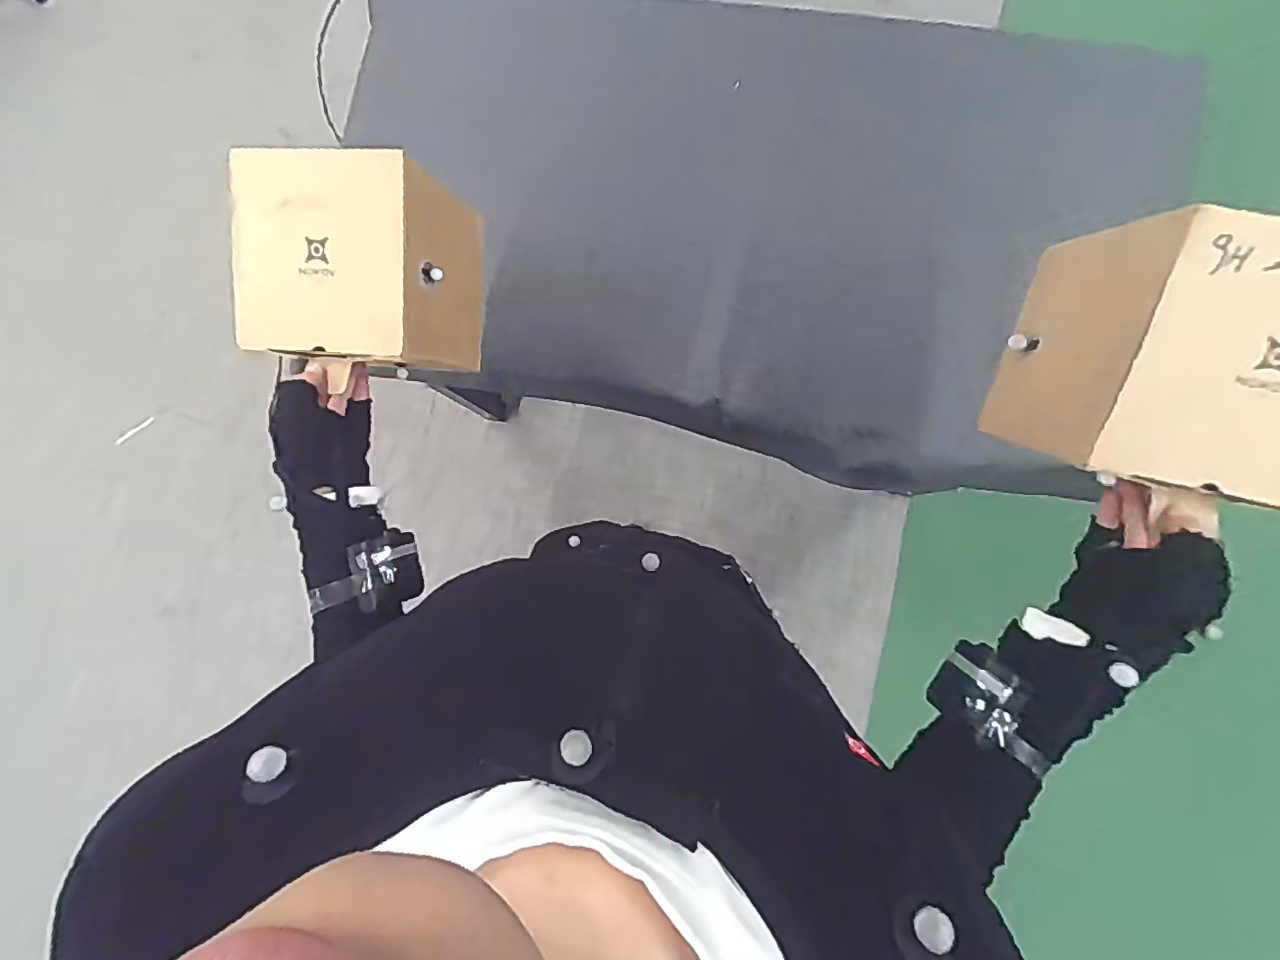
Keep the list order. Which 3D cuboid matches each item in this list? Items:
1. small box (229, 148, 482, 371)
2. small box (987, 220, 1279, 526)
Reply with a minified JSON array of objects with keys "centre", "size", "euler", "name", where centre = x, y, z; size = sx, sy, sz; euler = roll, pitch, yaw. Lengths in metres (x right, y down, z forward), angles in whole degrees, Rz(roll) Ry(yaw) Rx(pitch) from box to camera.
[{"centre":[-0.272,-0.207,0.552],"size":[0.168,0.176,0.179],"euler":[4,97,6],"name":"small box"},{"centre":[0.417,-0.084,0.431],"size":[0.168,0.176,0.179],"euler":[13,106,4],"name":"small box"}]
